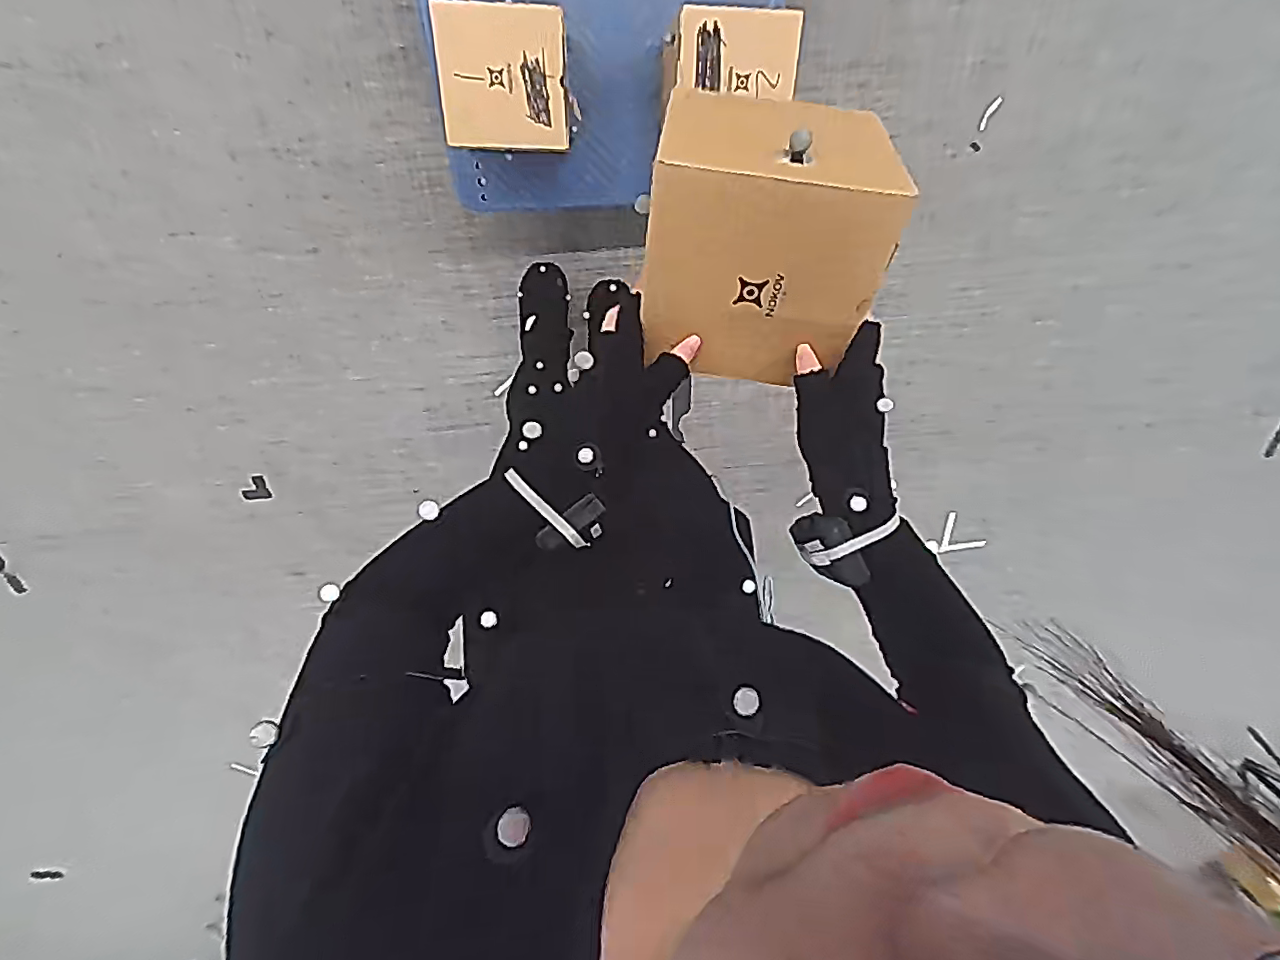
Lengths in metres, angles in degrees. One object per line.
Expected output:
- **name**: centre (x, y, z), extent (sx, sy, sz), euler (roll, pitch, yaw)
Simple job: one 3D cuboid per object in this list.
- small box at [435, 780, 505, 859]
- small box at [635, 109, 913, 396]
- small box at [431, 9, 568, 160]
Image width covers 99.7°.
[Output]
- **small box**: centre (-0.572, 1.156, 1.847), extent (0.179, 0.176, 0.168), euler (-7, 122, -1)
- **small box**: centre (0.096, -0.199, 0.469), extent (0.179, 0.176, 0.168), euler (7, 139, -1)
- **small box**: centre (-0.199, -0.587, 0.823), extent (0.179, 0.176, 0.168), euler (-1, 120, -5)
